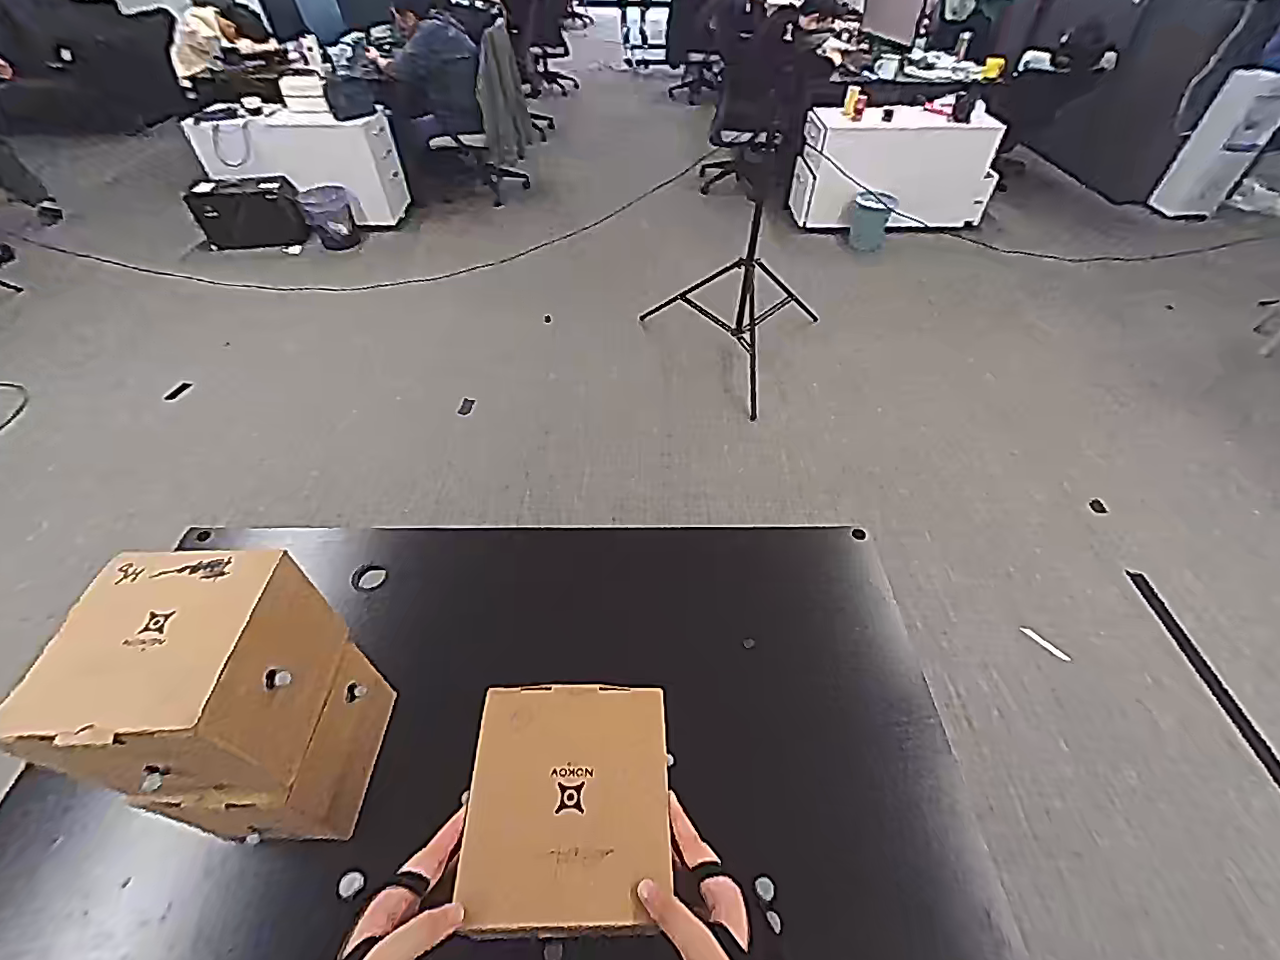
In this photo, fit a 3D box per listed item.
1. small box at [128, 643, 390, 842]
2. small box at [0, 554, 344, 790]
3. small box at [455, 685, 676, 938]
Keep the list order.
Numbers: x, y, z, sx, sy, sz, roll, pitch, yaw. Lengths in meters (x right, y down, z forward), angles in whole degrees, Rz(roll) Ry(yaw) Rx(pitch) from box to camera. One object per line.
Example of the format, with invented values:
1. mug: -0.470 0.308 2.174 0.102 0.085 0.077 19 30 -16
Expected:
1. small box: -0.422 0.310 0.644 0.168 0.176 0.179 1 47 1
2. small box: -0.424 0.192 0.530 0.168 0.176 0.179 -1 48 -2
3. small box: -0.061 0.312 0.509 0.168 0.176 0.179 1 48 -4
